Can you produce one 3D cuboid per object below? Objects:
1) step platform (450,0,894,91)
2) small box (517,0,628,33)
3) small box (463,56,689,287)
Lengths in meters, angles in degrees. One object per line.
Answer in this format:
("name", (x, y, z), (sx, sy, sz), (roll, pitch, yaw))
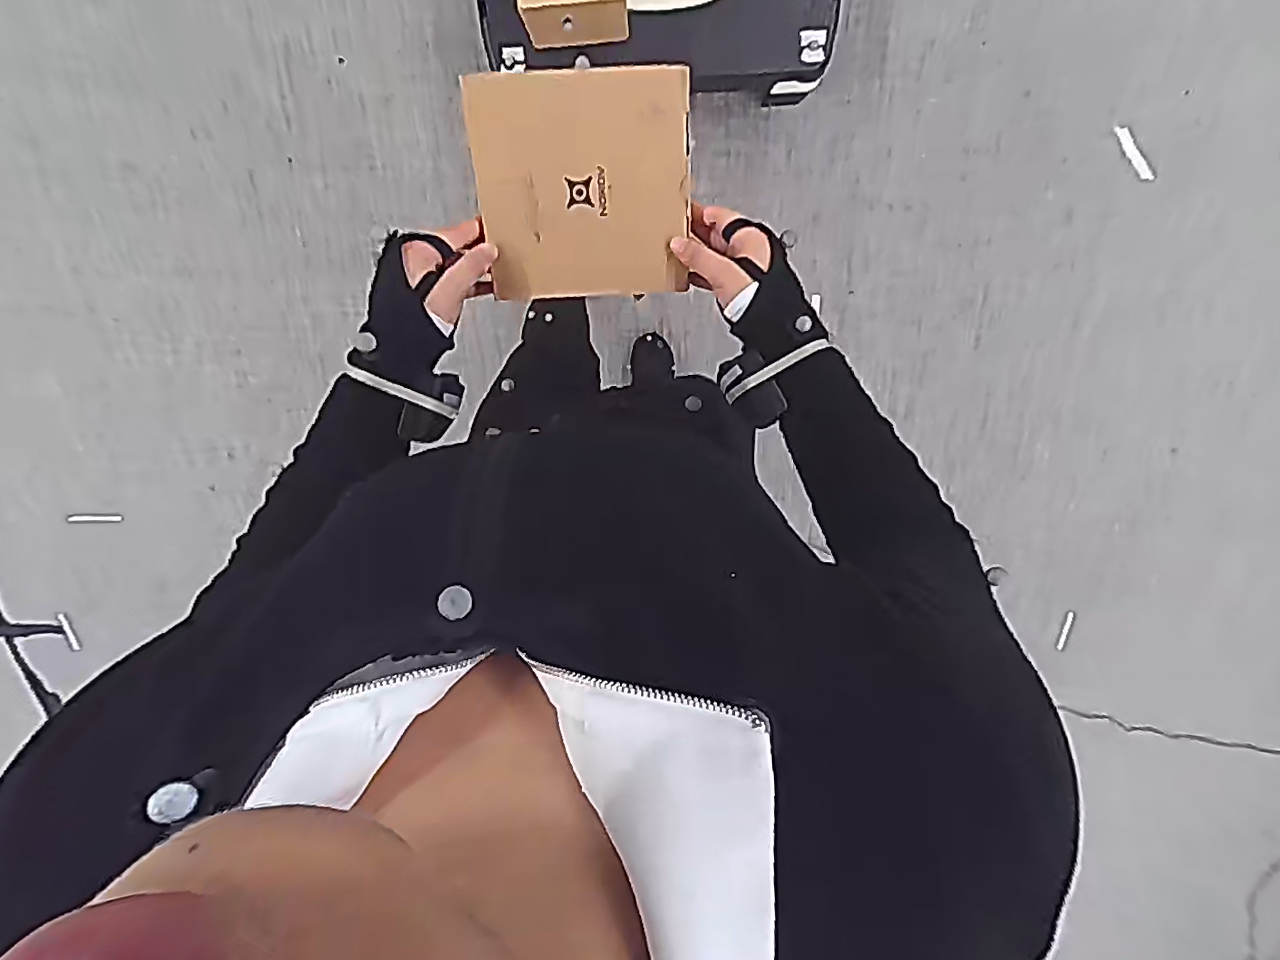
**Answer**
("step platform", (0.048, -0.820, 0.878), (0.684, 0.204, 0.286), (-2, 111, 0))
("small box", (-0.113, -0.859, 0.900), (0.179, 0.176, 0.168), (-4, 111, 2))
("small box", (-0.049, -0.284, 0.519), (0.179, 0.176, 0.168), (-3, 115, 0))
